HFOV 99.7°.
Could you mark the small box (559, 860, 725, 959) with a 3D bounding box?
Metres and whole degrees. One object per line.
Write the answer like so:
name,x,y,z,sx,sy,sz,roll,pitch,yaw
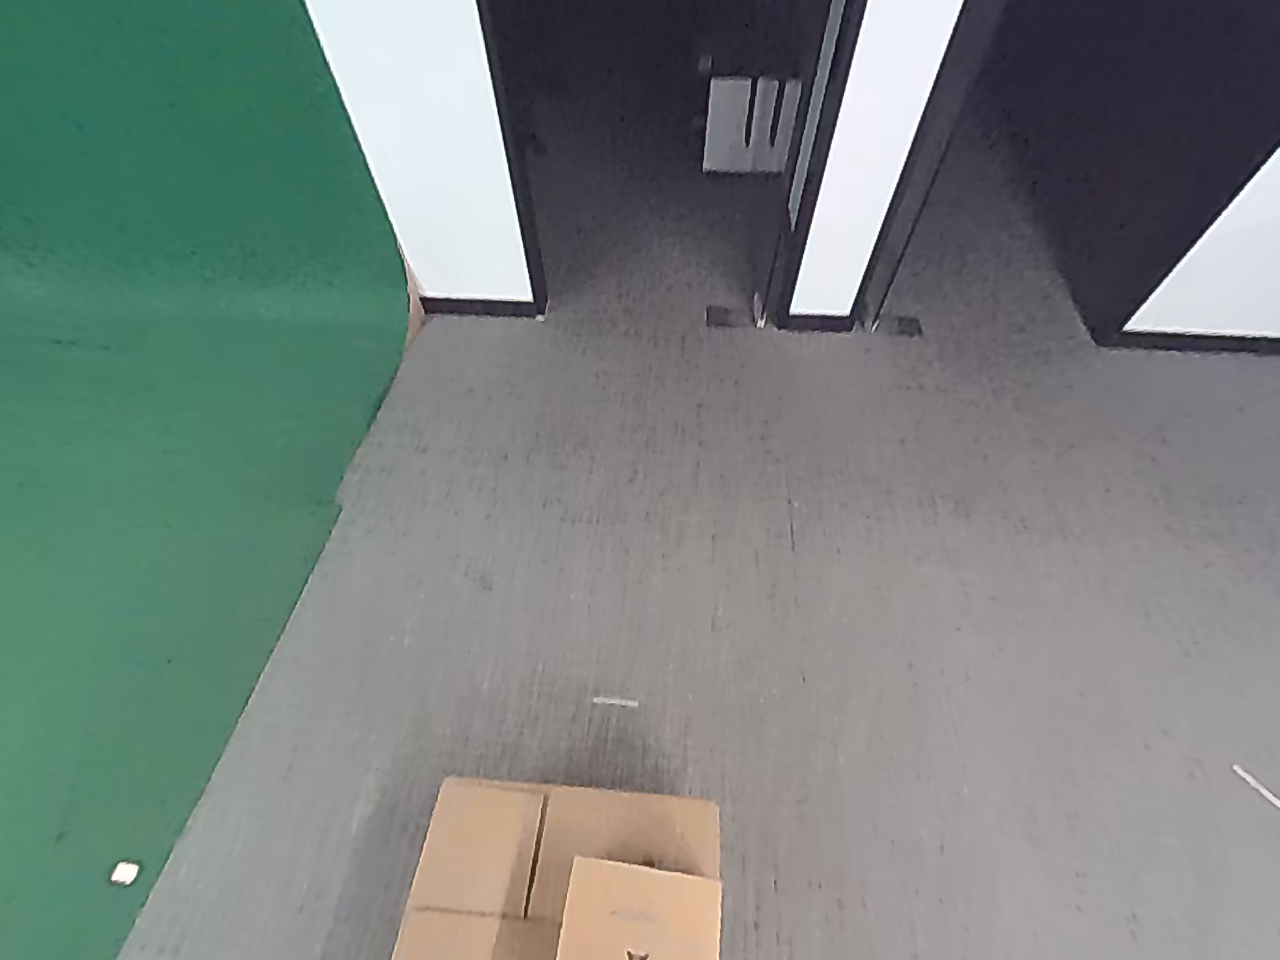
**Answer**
small box,0.000,0.545,0.598,0.168,0.176,0.179,6,52,6
